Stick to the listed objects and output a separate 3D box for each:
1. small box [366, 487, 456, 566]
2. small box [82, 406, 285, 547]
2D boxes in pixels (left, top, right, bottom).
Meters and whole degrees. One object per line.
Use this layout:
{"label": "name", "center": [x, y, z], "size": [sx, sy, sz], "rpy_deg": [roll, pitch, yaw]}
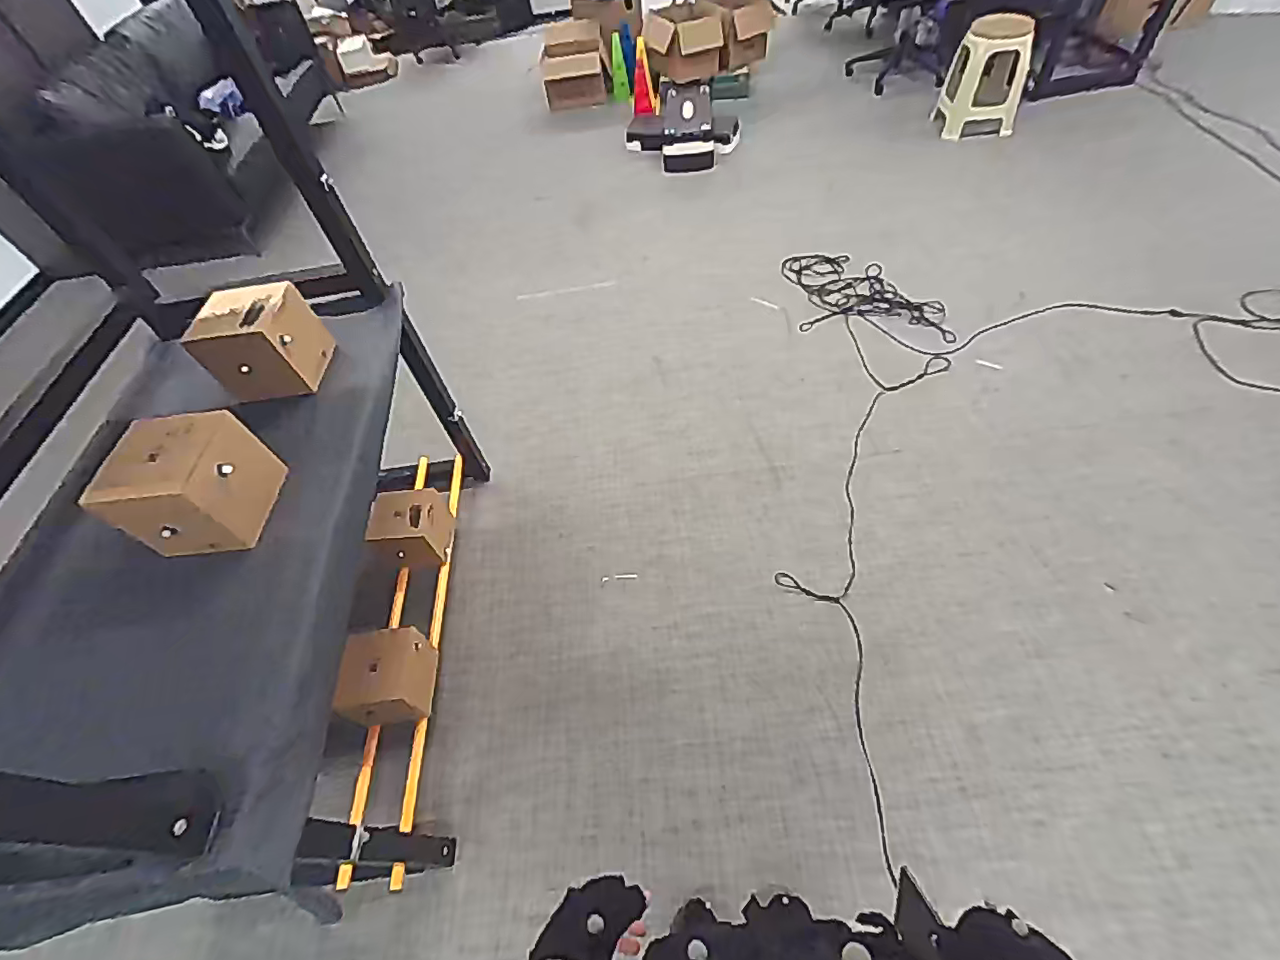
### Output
{"label": "small box", "center": [-0.659, 0.140, 1.580], "size": [0.179, 0.176, 0.168], "rpy_deg": [-5, 53, 4]}
{"label": "small box", "center": [-0.747, 0.002, 0.913], "size": [0.168, 0.176, 0.179], "rpy_deg": [-5, 53, 4]}
